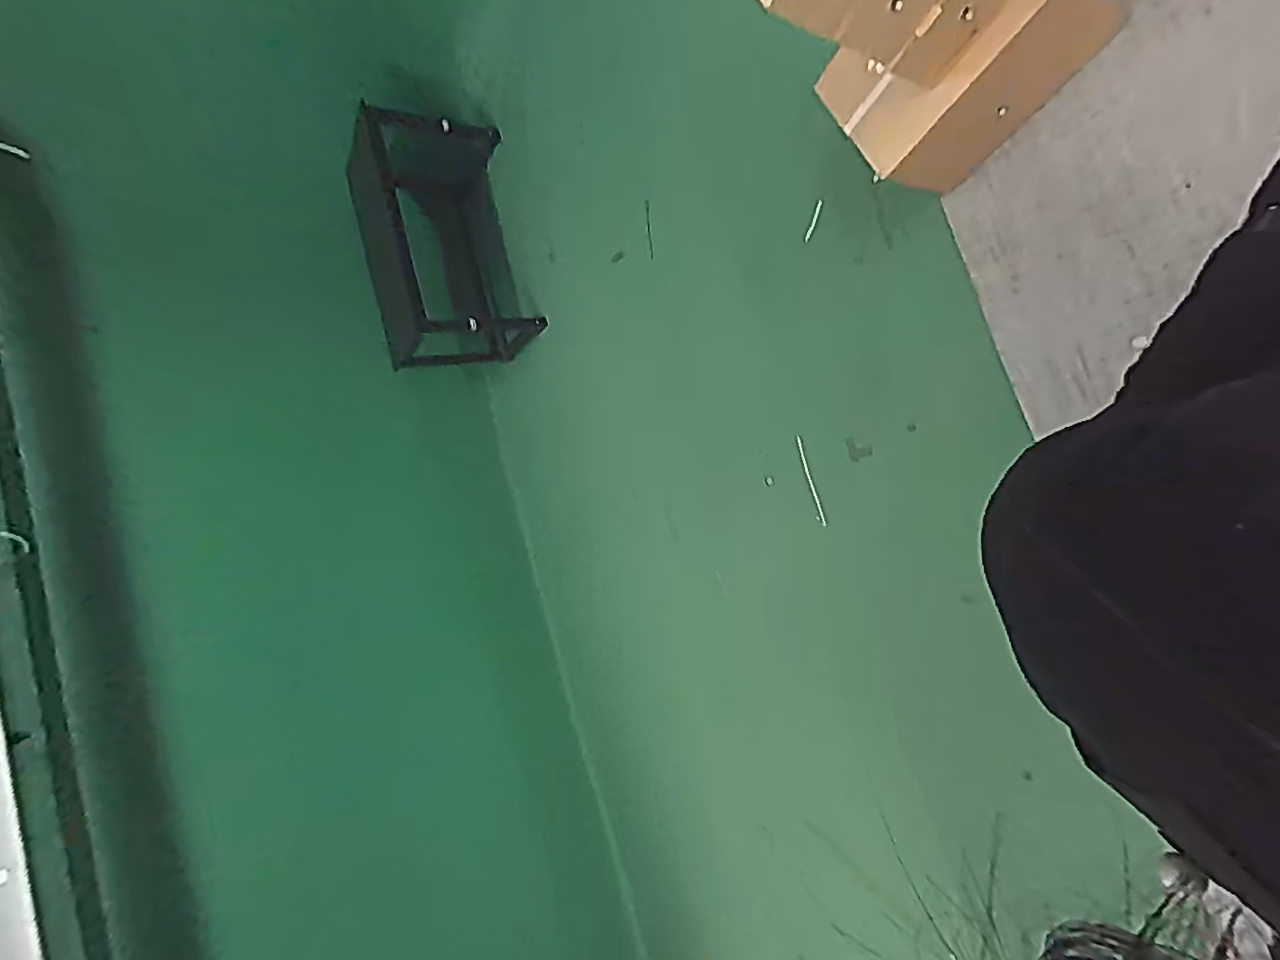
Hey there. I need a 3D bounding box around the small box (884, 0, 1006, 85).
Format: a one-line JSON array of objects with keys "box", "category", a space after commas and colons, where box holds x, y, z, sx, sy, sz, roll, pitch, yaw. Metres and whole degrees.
[{"box": [0.522, -0.867, 0.991, 0.168, 0.176, 0.179, -45, 64, 50], "category": "small box"}]

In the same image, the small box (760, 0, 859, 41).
[{"box": [0.259, -0.814, 0.802, 0.179, 0.176, 0.168, -45, 64, 49], "category": "small box"}]

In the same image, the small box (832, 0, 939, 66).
[{"box": [0.392, -0.842, 0.894, 0.179, 0.176, 0.168, -47, 63, 50], "category": "small box"}]

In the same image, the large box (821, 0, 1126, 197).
[{"box": [0.692, -0.902, 1.168, 0.408, 0.320, 0.320, -47, 61, 51], "category": "large box"}]
